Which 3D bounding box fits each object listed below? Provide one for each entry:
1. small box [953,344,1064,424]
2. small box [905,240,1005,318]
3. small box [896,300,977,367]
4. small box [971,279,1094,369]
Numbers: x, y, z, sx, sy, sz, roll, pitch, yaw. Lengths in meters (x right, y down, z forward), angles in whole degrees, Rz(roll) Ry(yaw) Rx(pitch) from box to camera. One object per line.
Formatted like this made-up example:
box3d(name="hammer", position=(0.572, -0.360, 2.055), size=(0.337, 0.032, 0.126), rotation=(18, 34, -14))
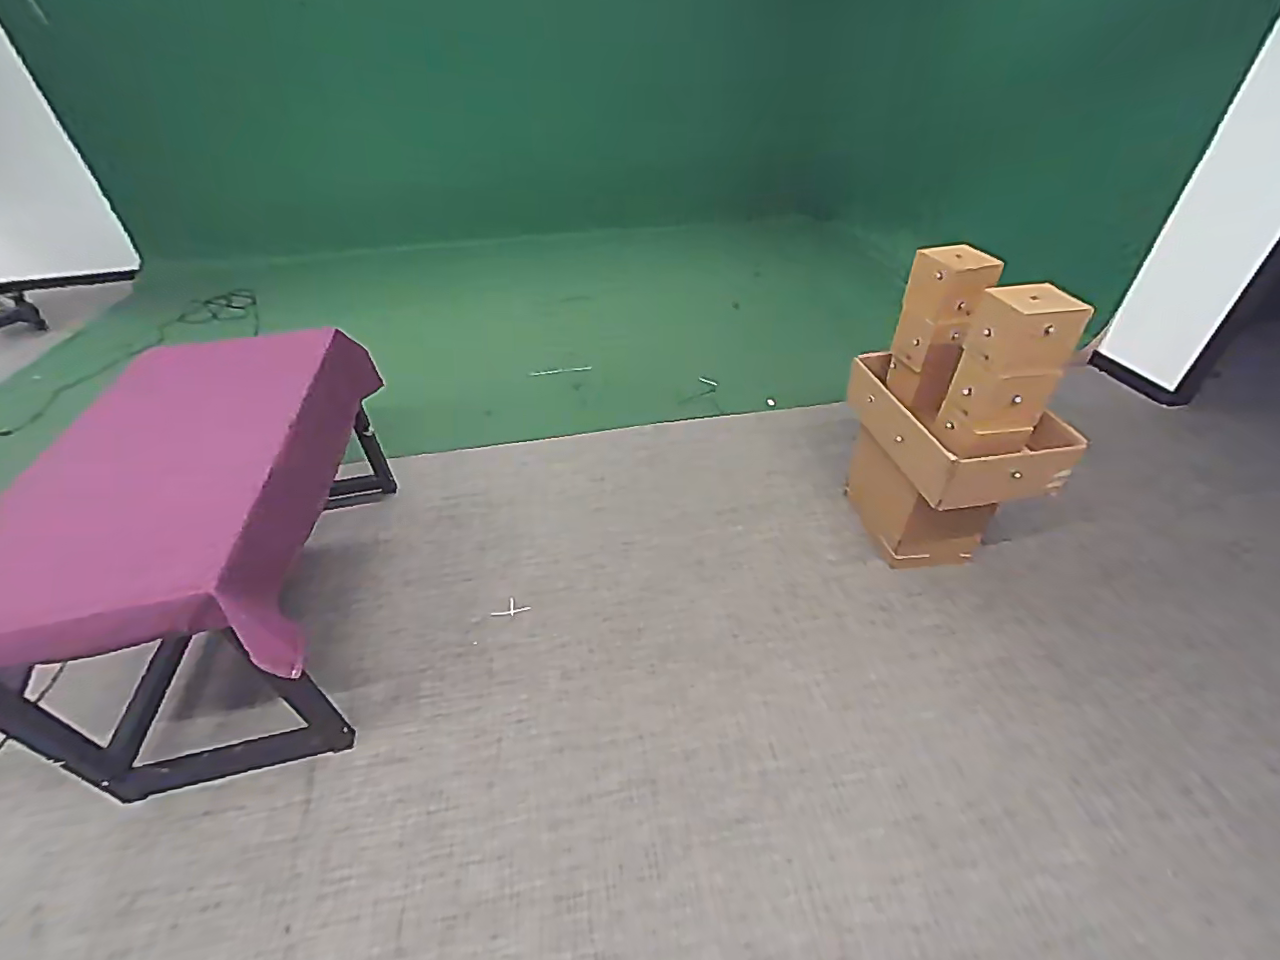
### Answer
box3d(name="small box", position=(0.992, -0.266, 1.481), size=(0.179, 0.176, 0.168), rotation=(-6, 41, -3))
box3d(name="small box", position=(0.937, -0.606, 1.631), size=(0.168, 0.176, 0.179), rotation=(-11, 42, -9))
box3d(name="small box", position=(0.946, -0.474, 1.727), size=(0.179, 0.176, 0.168), rotation=(-10, 42, -8))
box3d(name="small box", position=(0.982, -0.396, 1.378), size=(0.179, 0.176, 0.168), rotation=(-5, 41, -3))
